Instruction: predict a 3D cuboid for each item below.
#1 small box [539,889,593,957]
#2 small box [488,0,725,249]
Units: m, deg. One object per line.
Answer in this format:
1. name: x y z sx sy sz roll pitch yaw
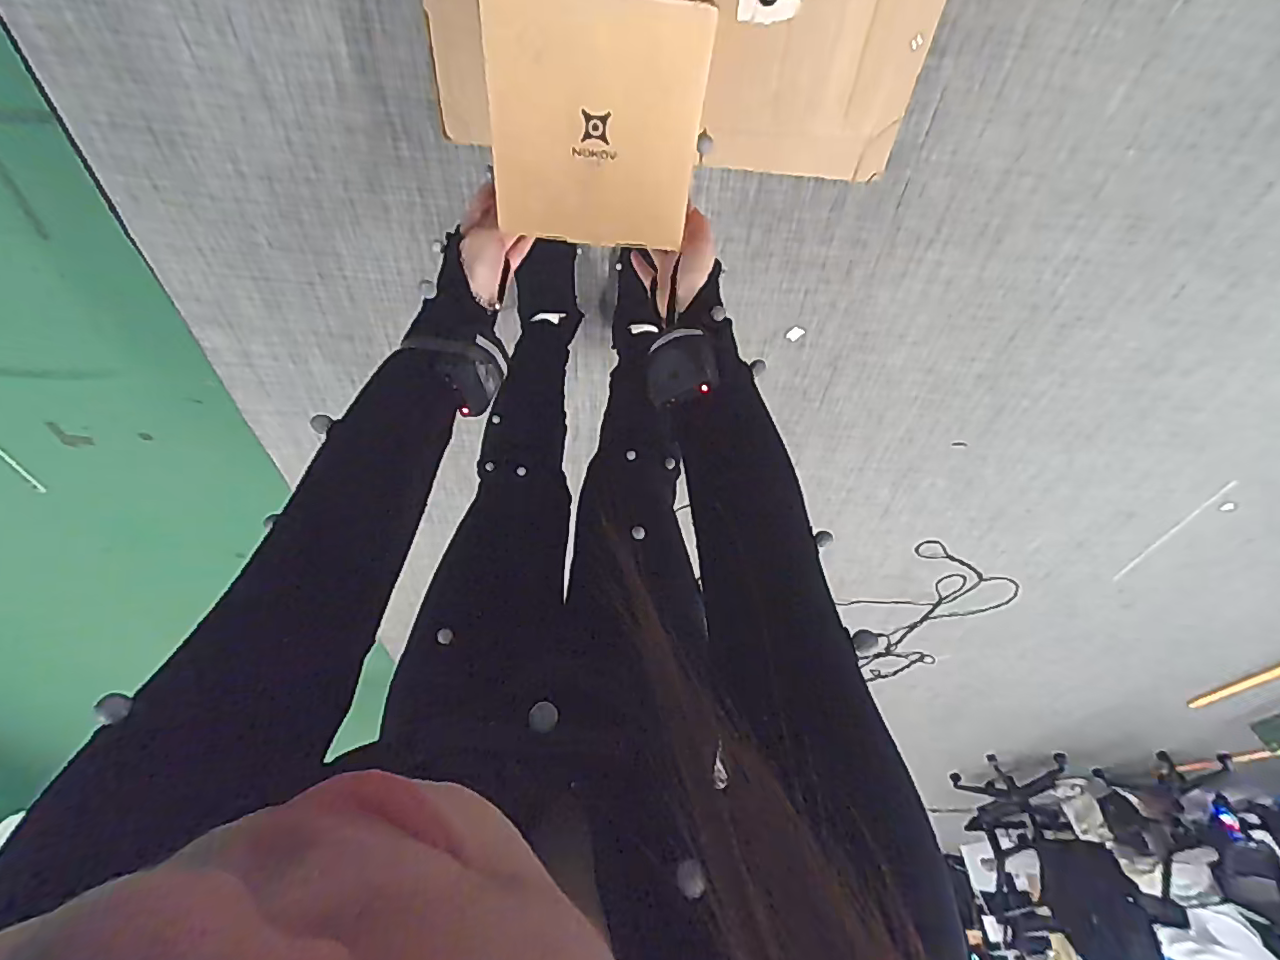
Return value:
1. small box: -0.244 1.499 1.827 0.168 0.176 0.179 1 138 -3
2. small box: -0.032 -0.333 0.478 0.168 0.176 0.179 3 139 -5
